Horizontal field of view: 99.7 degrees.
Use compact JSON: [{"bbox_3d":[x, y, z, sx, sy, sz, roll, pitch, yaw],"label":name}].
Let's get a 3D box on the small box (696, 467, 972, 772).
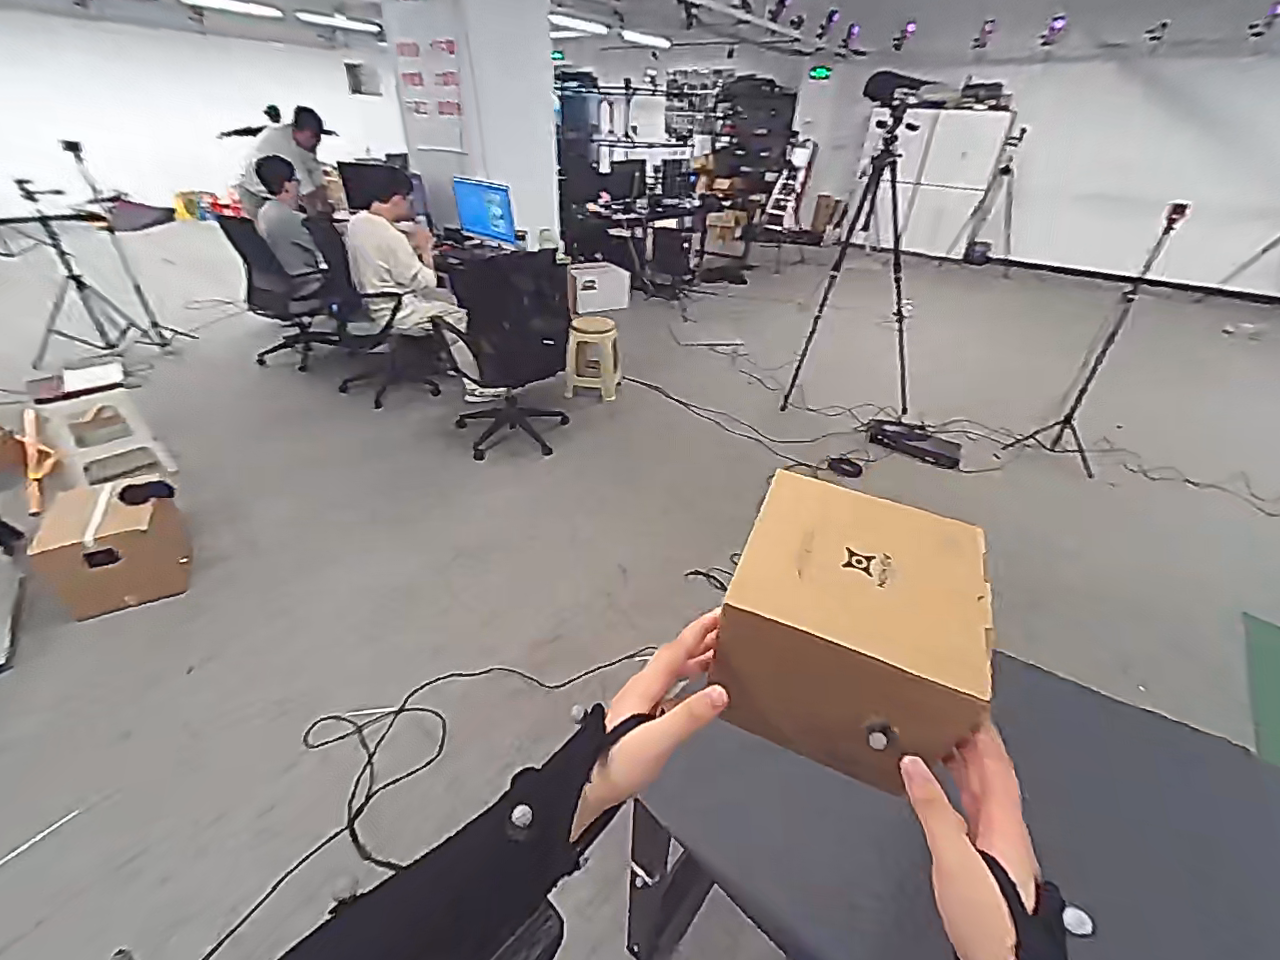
[{"bbox_3d":[0.159,0.120,0.468,0.179,0.176,0.168,16,43,18],"label":"small box"}]
